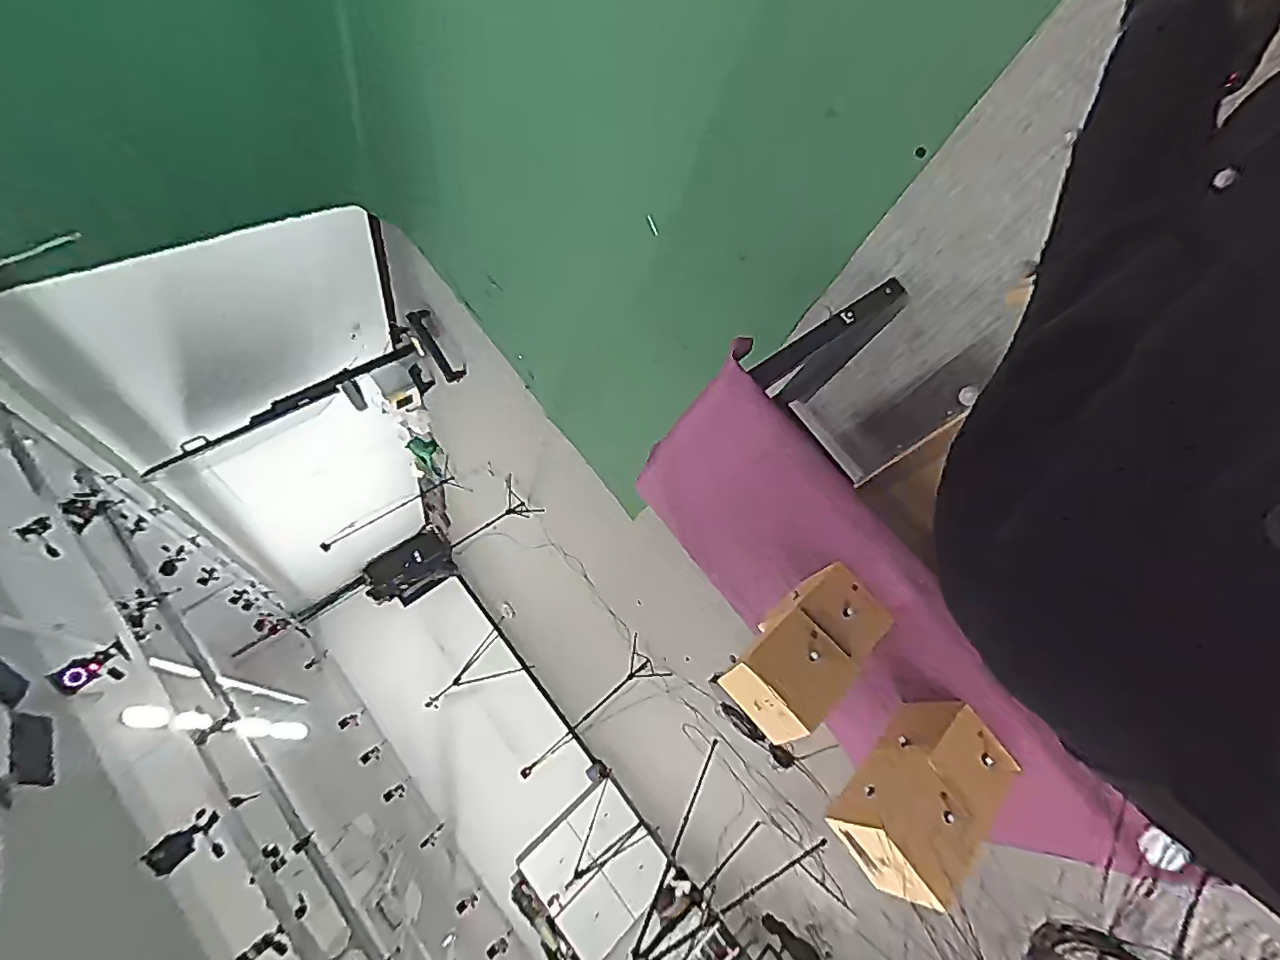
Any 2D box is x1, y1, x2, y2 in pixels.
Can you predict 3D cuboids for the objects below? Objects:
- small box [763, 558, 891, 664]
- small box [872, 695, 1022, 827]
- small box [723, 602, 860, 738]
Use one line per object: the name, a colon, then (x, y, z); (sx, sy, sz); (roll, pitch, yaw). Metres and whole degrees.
small box: (0.406, 0.294, 1.165); (0.168, 0.176, 0.179); (49, 152, 12)
small box: (0.630, 0.566, 1.113); (0.168, 0.176, 0.179); (52, 151, 7)
small box: (0.297, 0.374, 1.066); (0.168, 0.176, 0.179); (45, 151, 17)
